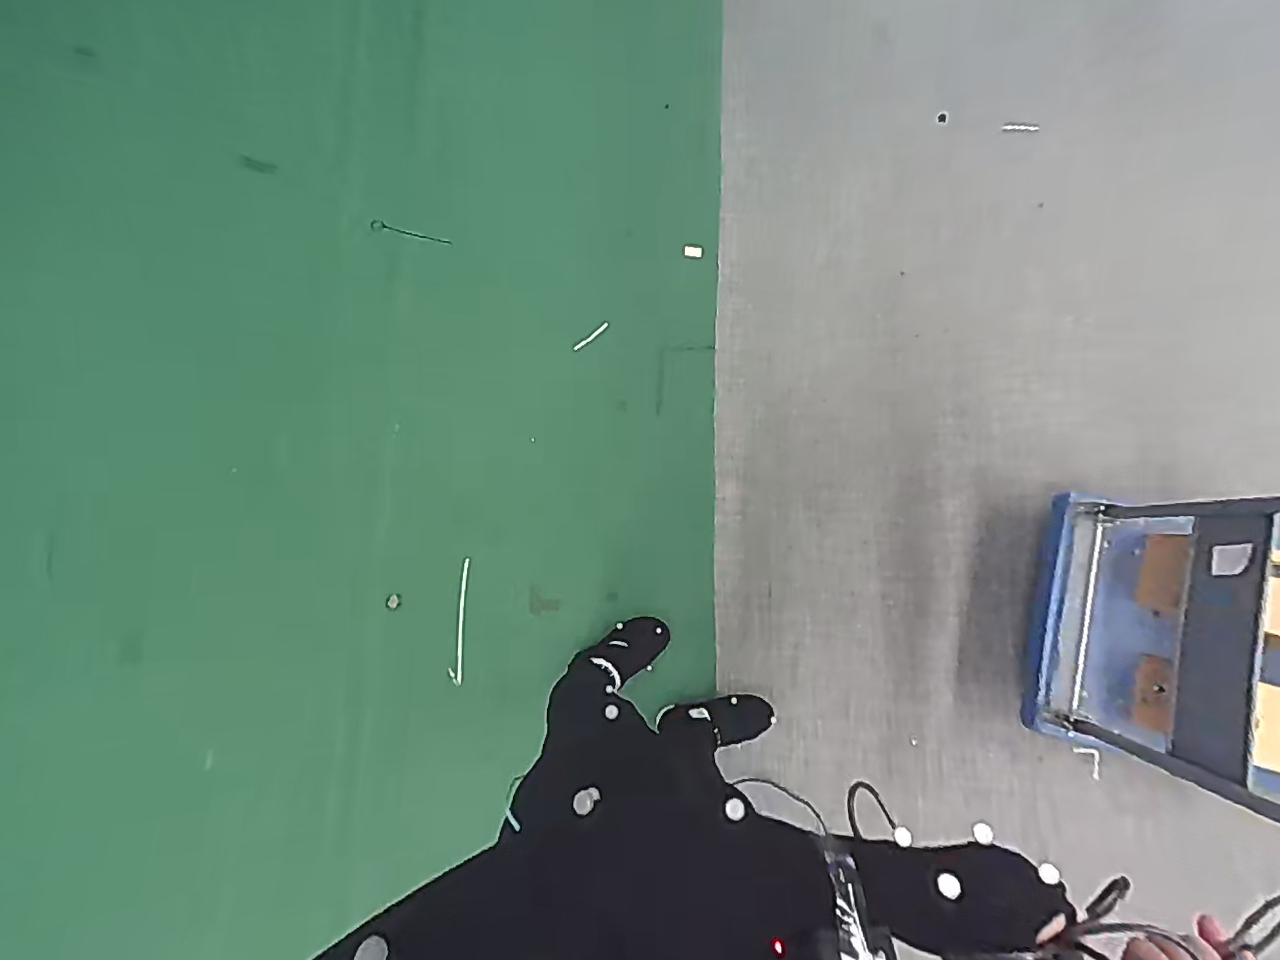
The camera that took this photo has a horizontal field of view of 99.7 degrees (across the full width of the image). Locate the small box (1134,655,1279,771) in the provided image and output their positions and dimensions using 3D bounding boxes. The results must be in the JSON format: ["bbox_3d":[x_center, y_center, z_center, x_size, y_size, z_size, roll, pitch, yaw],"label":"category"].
[{"bbox_3d":[1.223,0.486,1.150,0.179,0.176,0.168,15,84,1],"label":"small box"}]

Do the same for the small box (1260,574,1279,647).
[{"bbox_3d":[1.520,0.301,1.172,0.179,0.176,0.168,10,85,0],"label":"small box"}]
